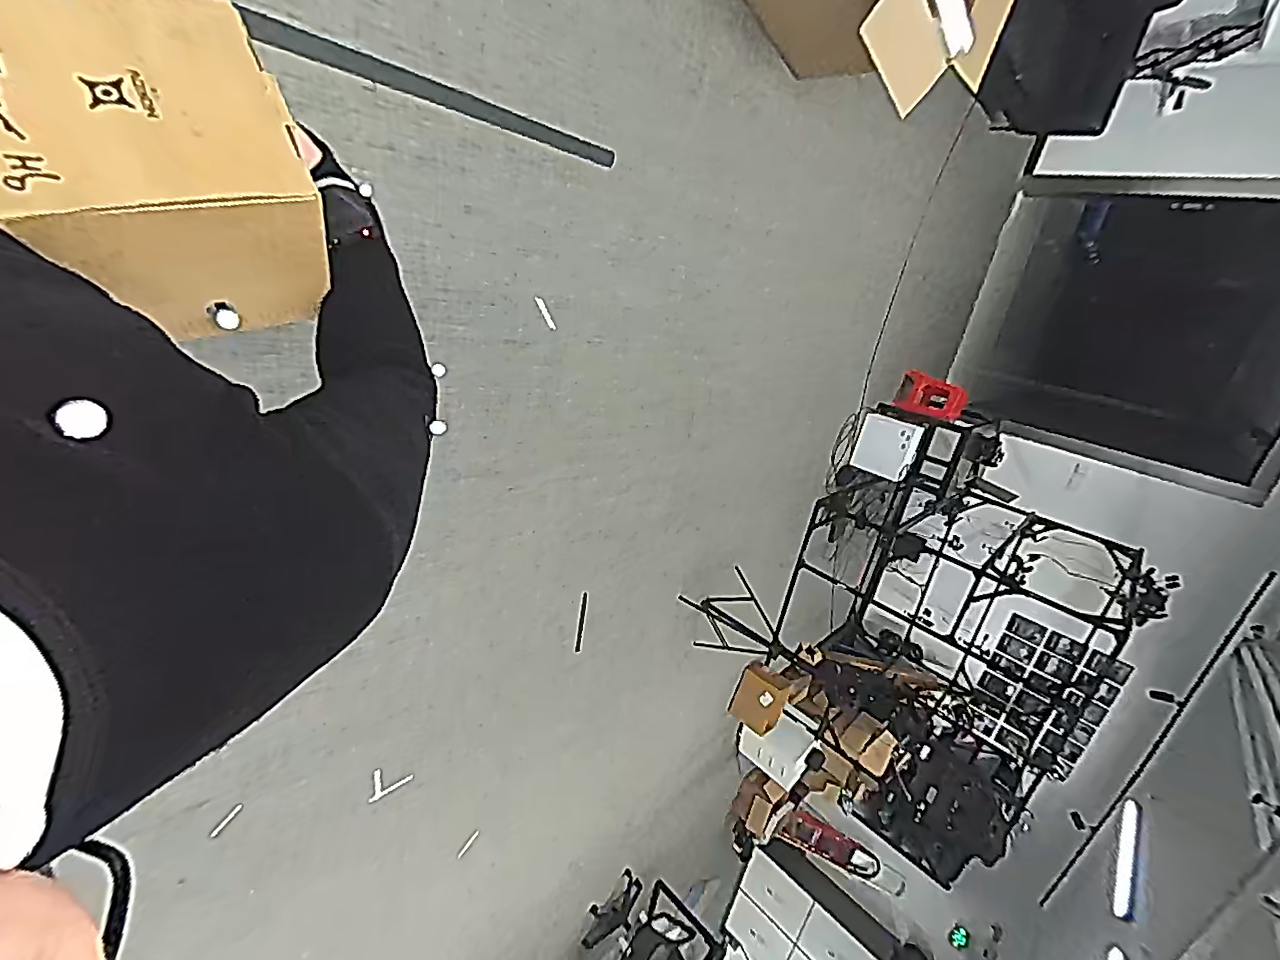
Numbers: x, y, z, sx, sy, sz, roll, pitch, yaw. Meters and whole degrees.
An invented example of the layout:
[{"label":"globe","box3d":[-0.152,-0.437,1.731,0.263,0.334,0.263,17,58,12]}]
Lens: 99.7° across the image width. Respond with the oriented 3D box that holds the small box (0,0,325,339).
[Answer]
[{"label":"small box","box3d":[-0.376,-0.237,0.435,0.179,0.176,0.168,-23,86,-31]}]
